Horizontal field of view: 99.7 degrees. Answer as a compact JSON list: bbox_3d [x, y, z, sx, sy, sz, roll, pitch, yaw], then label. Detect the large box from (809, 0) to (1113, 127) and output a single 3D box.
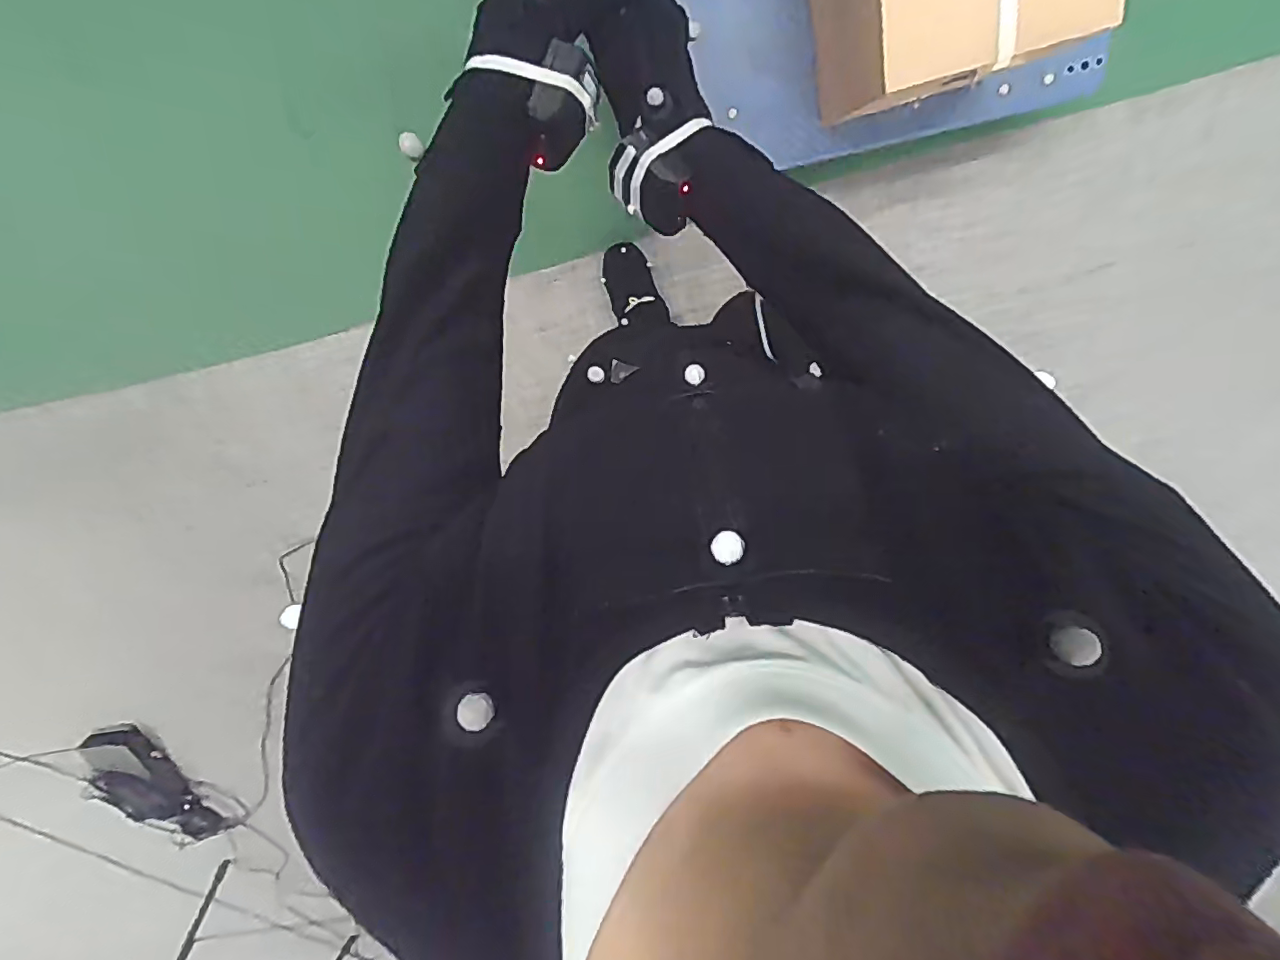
[{"bbox_3d":[0.439,-0.818,0.802,0.320,0.320,0.408,-13,114,6],"label":"large box"}]
